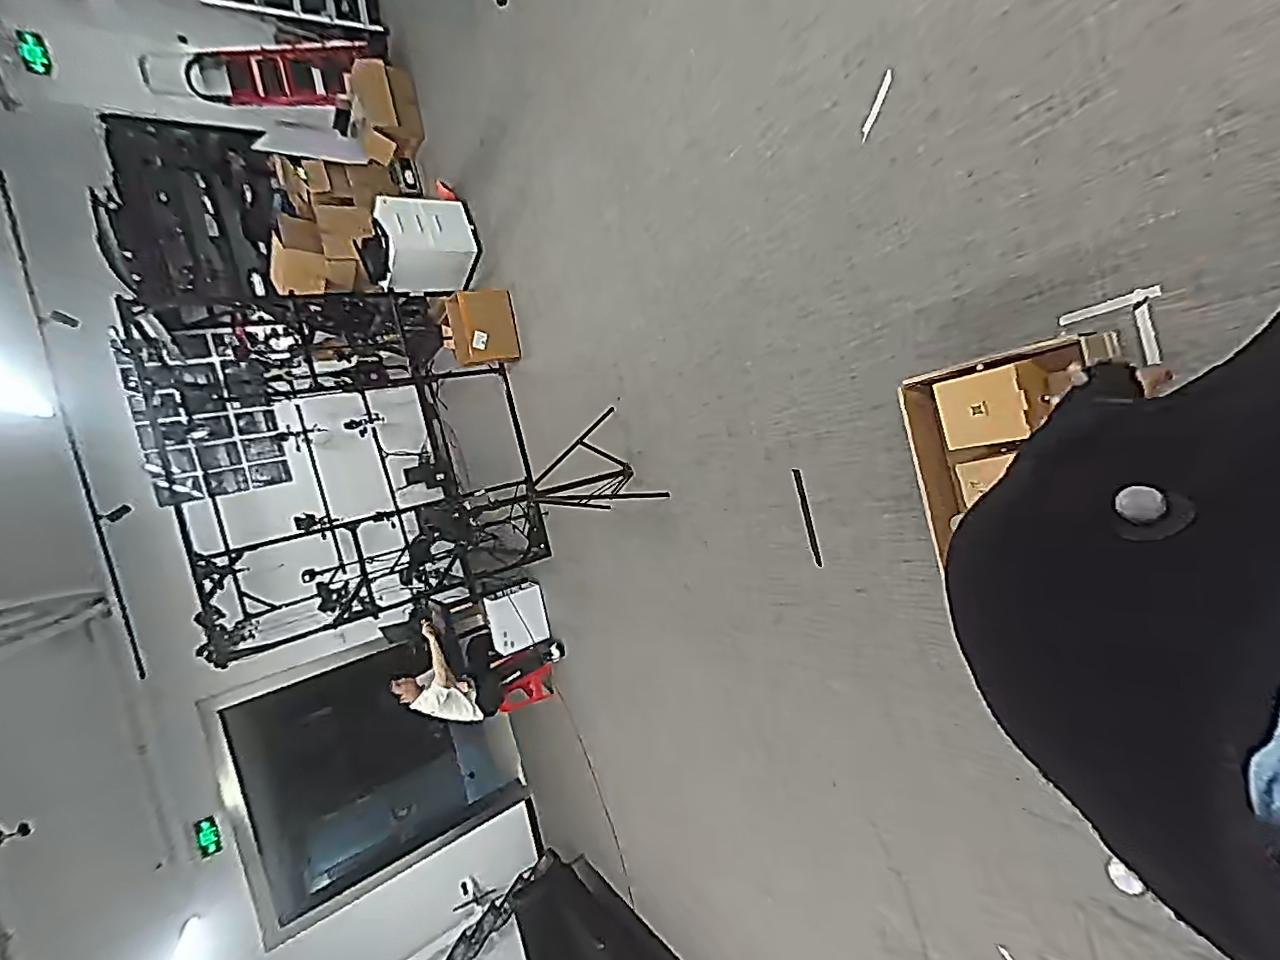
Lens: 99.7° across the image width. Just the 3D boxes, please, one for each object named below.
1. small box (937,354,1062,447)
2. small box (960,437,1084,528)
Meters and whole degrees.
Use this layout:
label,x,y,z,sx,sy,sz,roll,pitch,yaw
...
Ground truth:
label,x,y,z,sx,sy,sz,roll,pitch,yaw
small box,0.835,-0.183,1.258,0.179,0.176,0.168,-12,95,56
small box,0.890,0.006,1.253,0.179,0.176,0.168,-19,86,57
